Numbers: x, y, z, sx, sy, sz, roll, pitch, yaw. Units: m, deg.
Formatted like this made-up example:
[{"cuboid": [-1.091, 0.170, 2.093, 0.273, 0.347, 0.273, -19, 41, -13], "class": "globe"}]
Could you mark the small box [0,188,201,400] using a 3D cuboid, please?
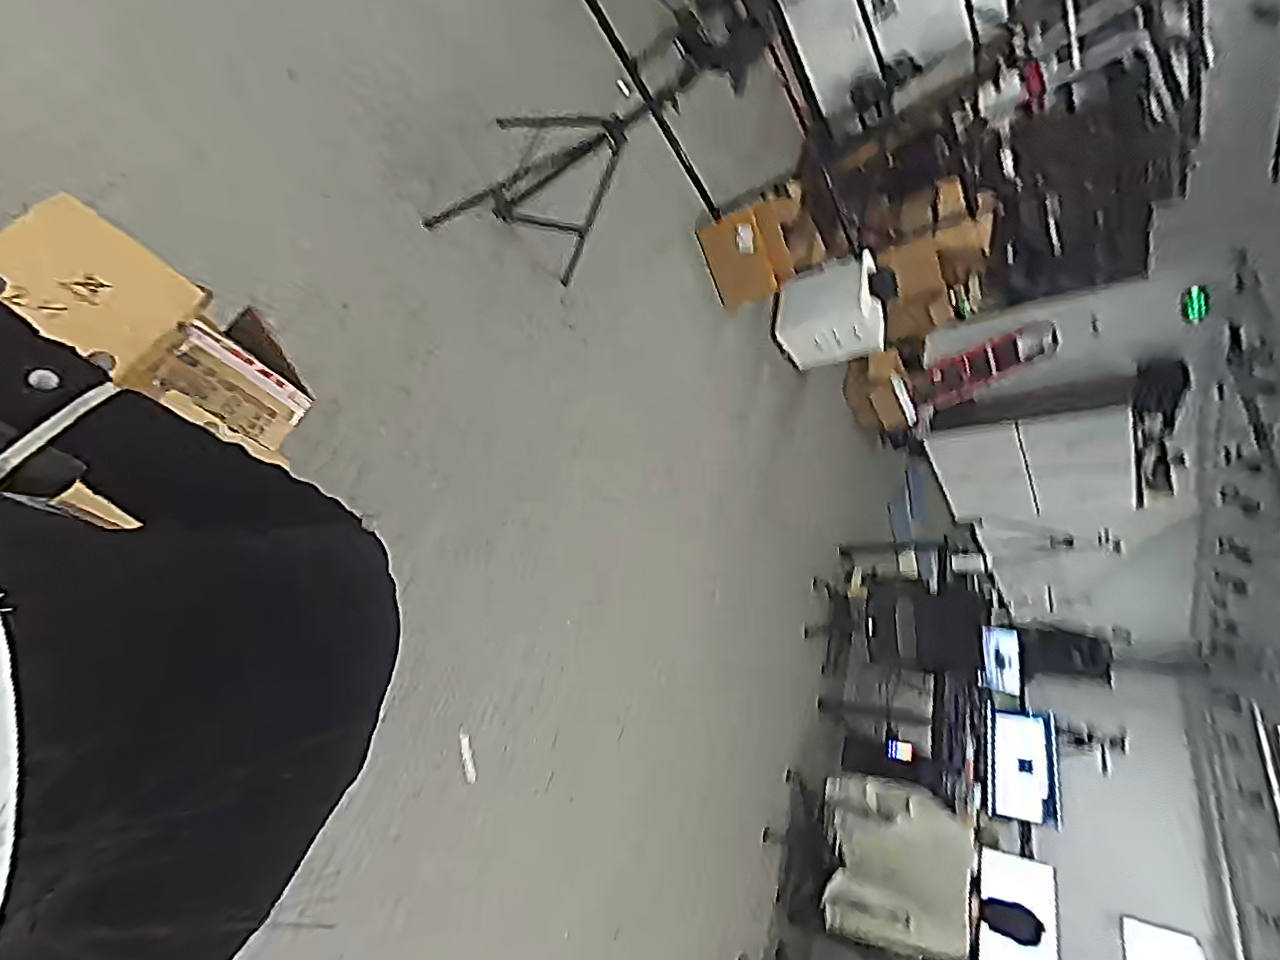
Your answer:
[{"cuboid": [-0.732, -0.229, 0.702, 0.168, 0.176, 0.179, 45, 54, -34], "class": "small box"}]

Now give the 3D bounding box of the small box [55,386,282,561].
[{"cuboid": [-0.660, -0.004, 0.758, 0.168, 0.176, 0.179, 46, 54, -37], "class": "small box"}]
